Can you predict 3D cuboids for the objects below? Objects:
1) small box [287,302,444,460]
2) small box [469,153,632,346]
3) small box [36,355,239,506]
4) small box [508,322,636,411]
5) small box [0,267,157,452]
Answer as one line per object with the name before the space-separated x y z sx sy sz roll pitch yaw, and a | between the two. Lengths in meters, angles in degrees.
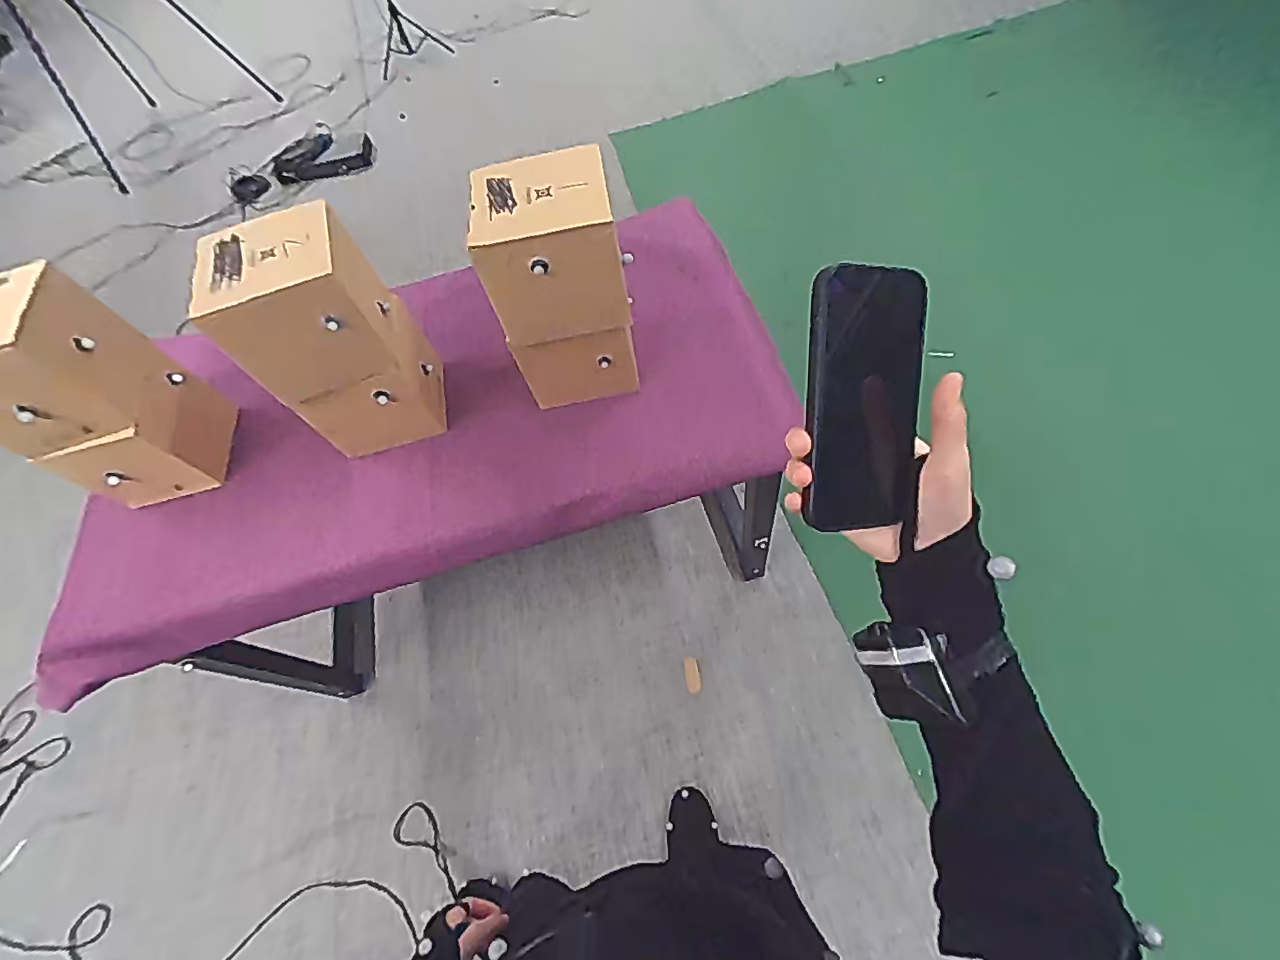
small box | -0.437 -0.158 0.894 0.179 0.176 0.168 -15 59 0
small box | -0.115 -0.305 0.740 0.179 0.176 0.168 -10 59 2
small box | -0.818 -0.072 0.905 0.168 0.176 0.179 -15 59 0
small box | -0.105 -0.236 0.888 0.179 0.176 0.168 -10 59 4
small box | -0.842 -0.159 0.767 0.168 0.176 0.179 -19 60 -3
